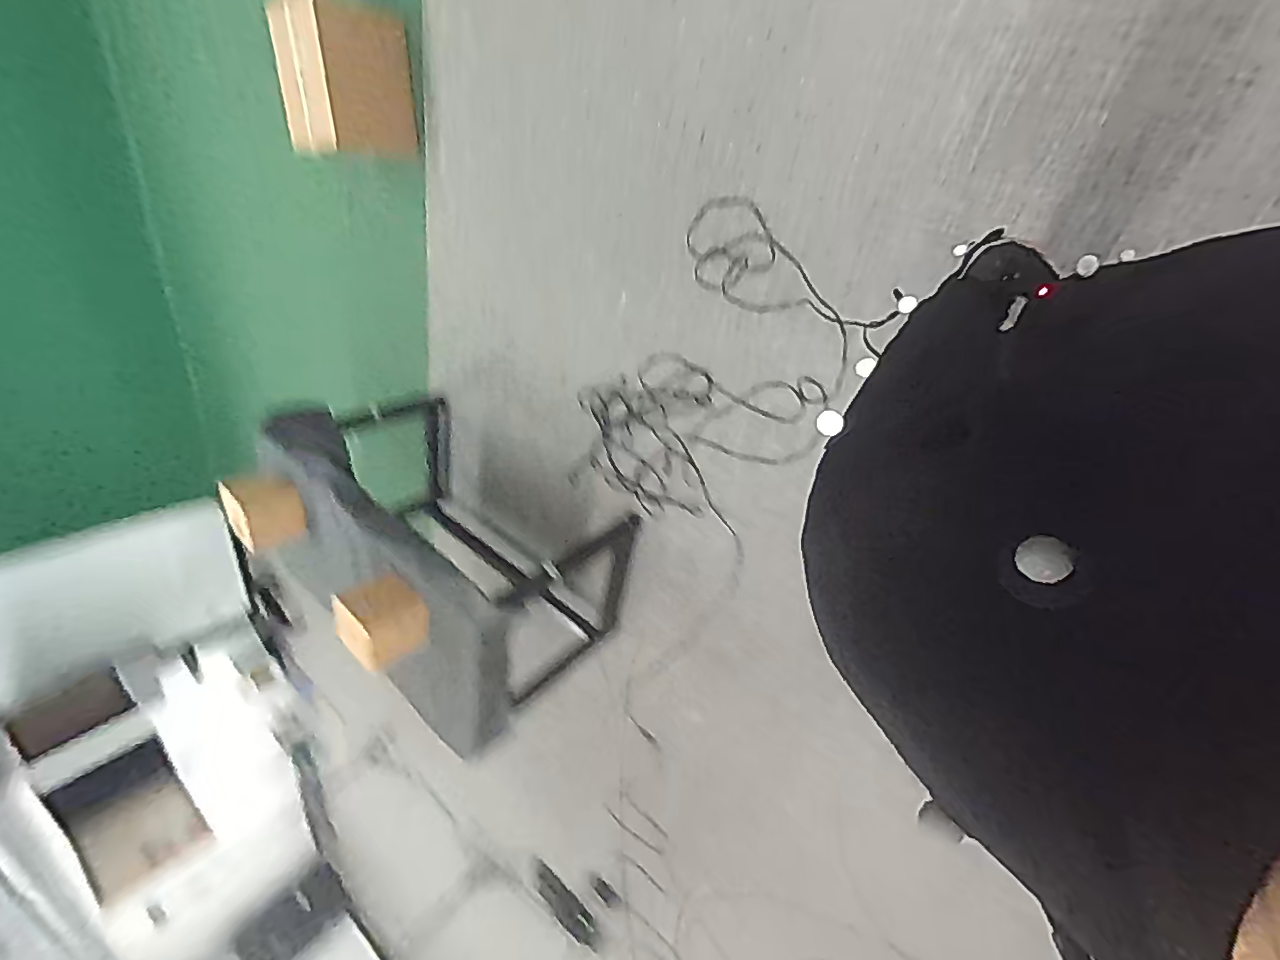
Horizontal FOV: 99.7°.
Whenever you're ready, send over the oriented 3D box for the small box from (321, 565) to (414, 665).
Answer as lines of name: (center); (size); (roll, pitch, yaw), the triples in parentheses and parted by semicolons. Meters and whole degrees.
small box: (-0.742, 0.363, 1.488); (0.179, 0.176, 0.168); (33, 125, 25)
